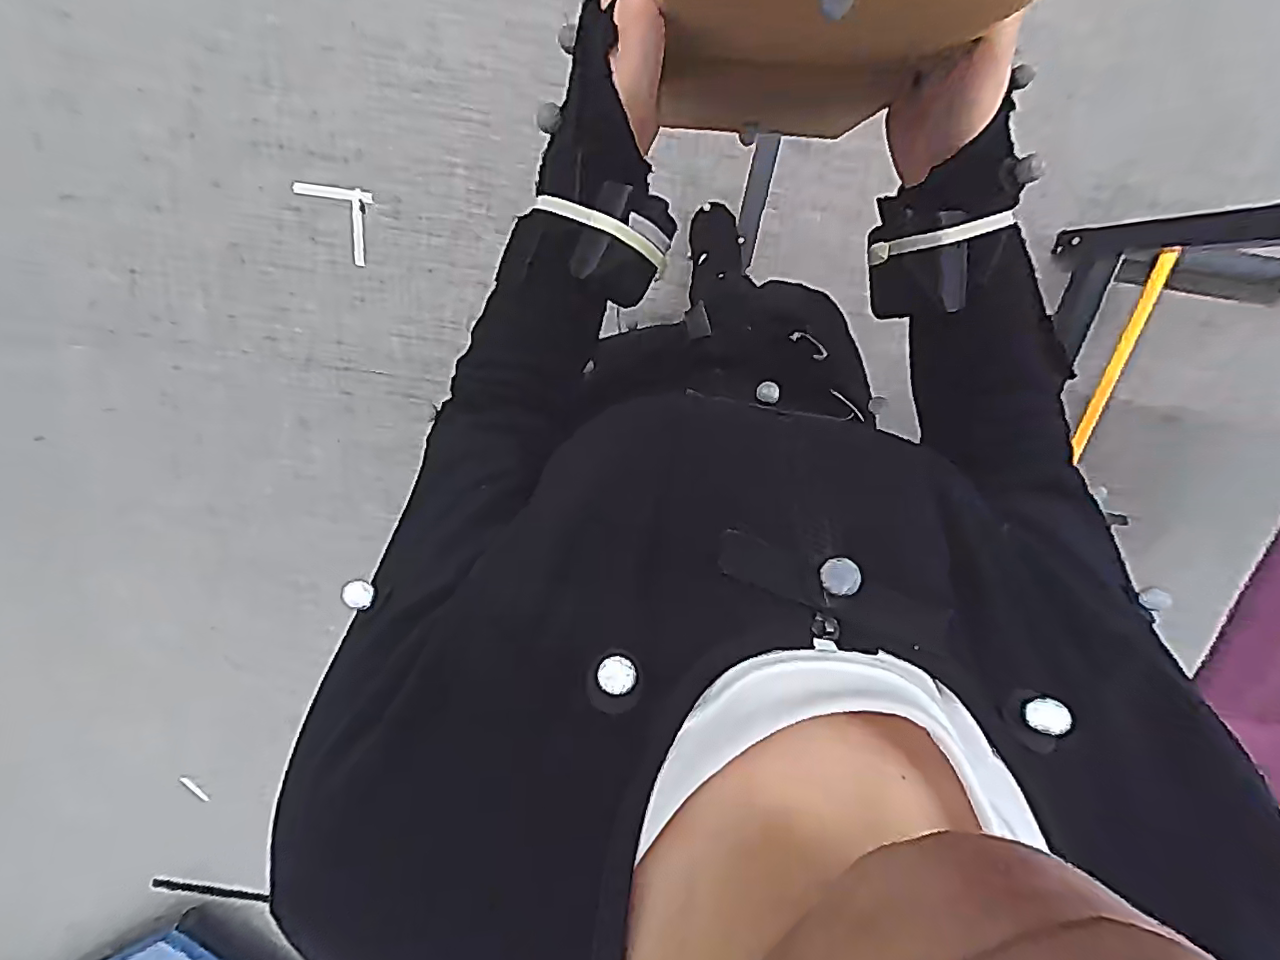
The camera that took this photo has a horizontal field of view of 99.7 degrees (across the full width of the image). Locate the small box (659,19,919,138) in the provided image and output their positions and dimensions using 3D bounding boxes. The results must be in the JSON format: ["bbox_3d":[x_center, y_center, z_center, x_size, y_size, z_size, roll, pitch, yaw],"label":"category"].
[{"bbox_3d":[0.102,-0.367,0.388,0.168,0.176,0.179,5,114,2],"label":"small box"}]

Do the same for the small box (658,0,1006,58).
[{"bbox_3d":[0.099,-0.310,0.235,0.179,0.176,0.168,4,114,2],"label":"small box"}]
